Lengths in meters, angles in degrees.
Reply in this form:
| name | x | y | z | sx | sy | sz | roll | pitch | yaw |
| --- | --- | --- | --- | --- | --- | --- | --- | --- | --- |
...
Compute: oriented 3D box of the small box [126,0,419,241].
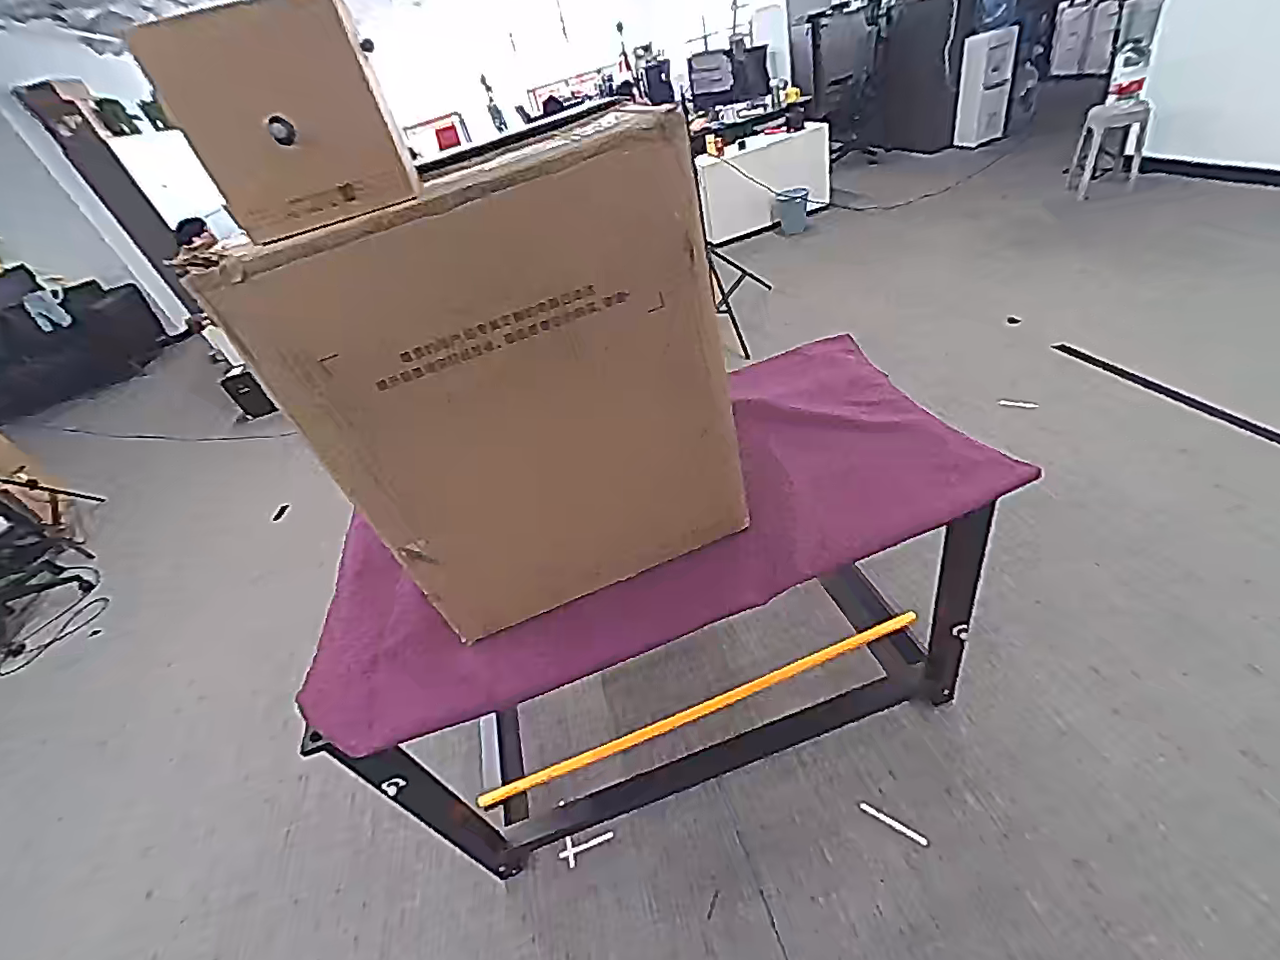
| name | x | y | z | sx | sy | sz | roll | pitch | yaw |
| --- | --- | --- | --- | --- | --- | --- | --- | --- | --- |
| small box | -0.338 | -0.359 | 0.547 | 0.168 | 0.176 | 0.179 | -21 | 39 | -7 |
